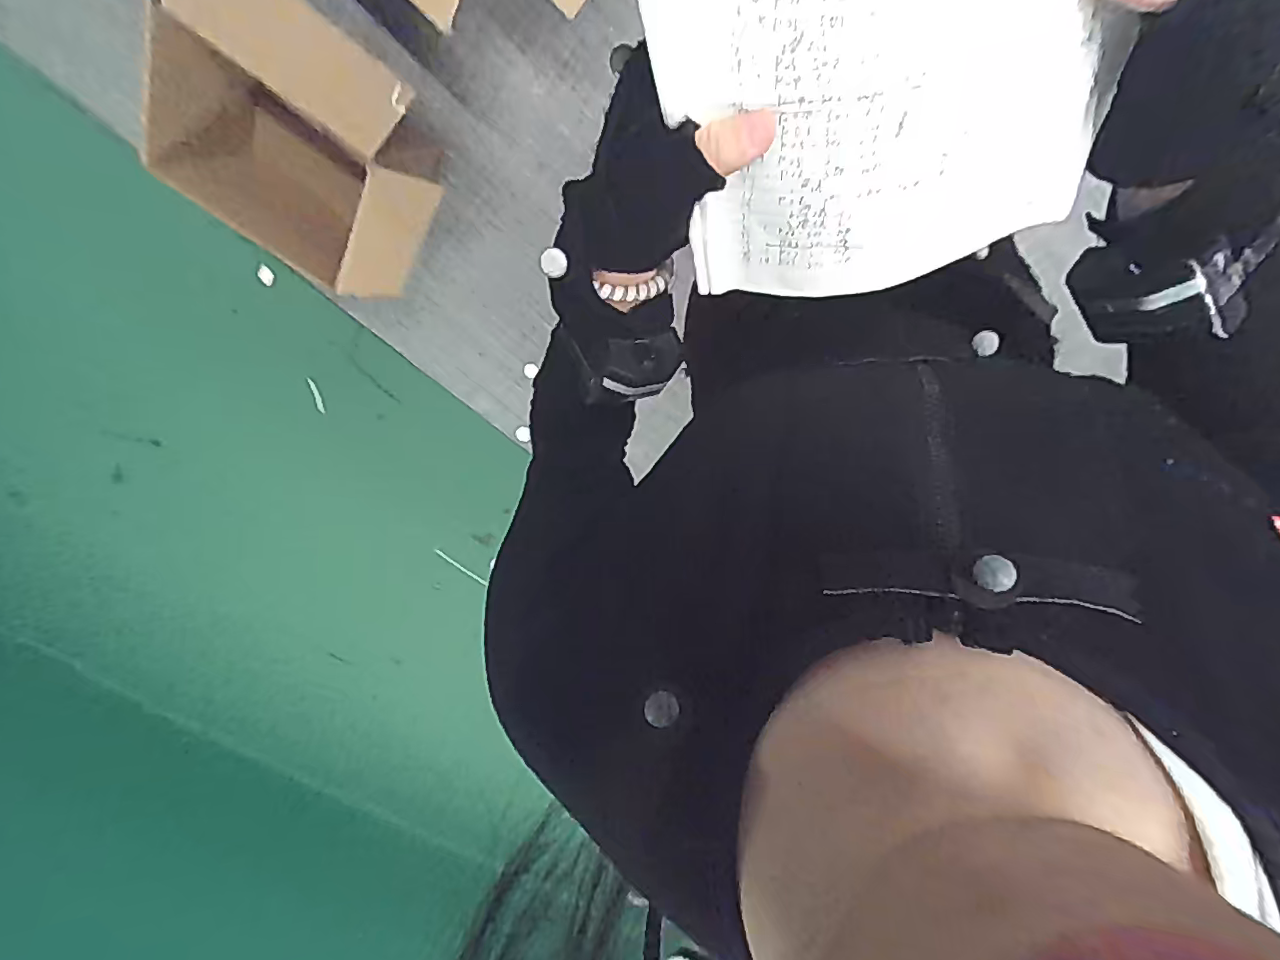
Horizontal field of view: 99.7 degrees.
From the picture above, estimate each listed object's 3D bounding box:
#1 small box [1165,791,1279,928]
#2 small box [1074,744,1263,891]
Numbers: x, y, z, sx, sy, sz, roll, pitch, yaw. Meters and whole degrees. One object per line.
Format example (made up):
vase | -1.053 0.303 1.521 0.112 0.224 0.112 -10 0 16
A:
small box | 1.123 0.747 1.070 0.179 0.176 0.168 41 121 -18
small box | 0.970 0.626 1.007 0.179 0.176 0.168 41 122 -18
